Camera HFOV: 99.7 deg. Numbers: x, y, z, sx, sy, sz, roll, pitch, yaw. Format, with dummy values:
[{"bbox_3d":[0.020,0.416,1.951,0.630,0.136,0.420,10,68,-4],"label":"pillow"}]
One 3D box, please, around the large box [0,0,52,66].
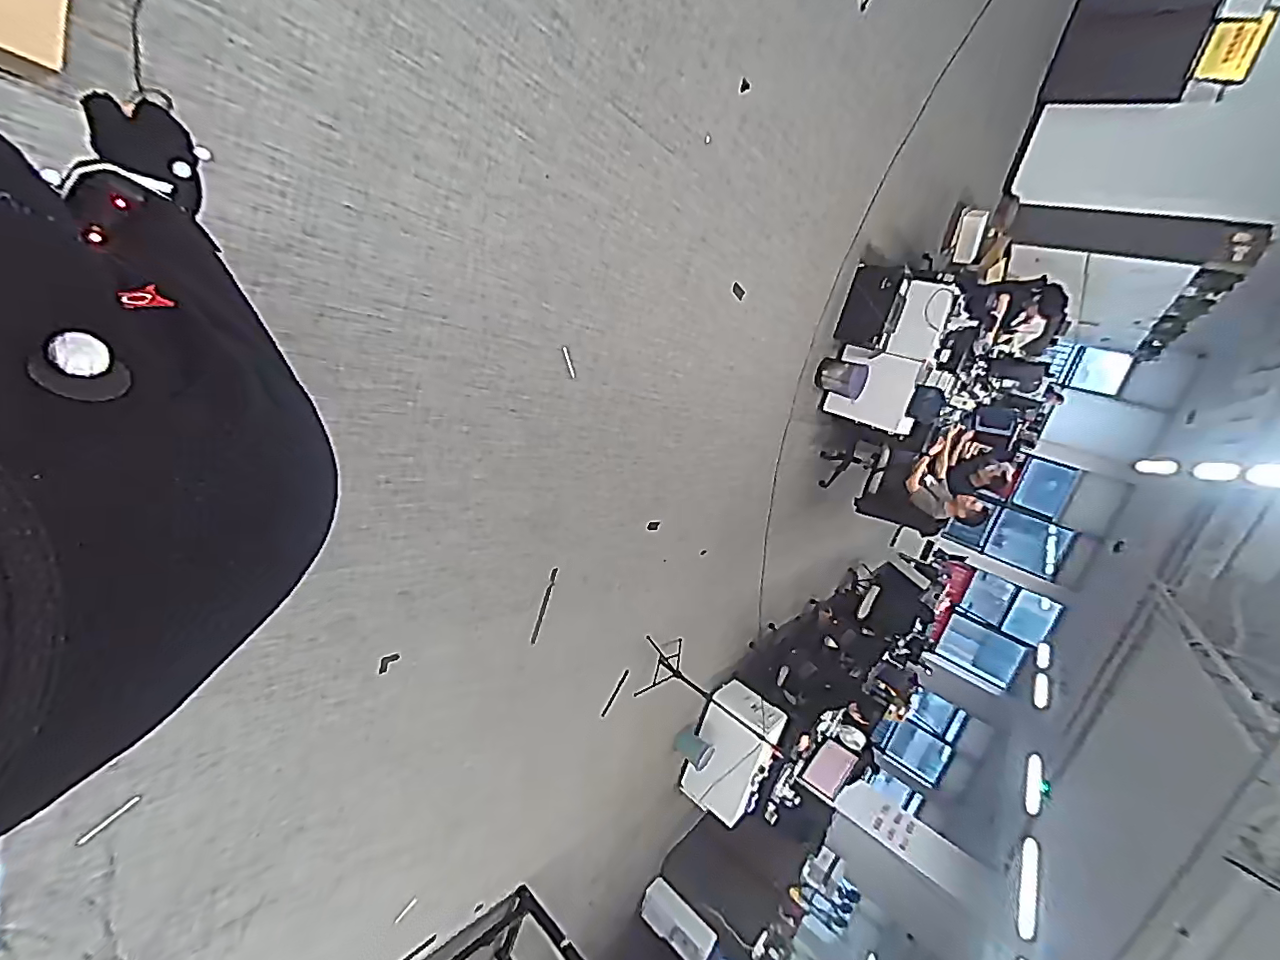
[{"bbox_3d":[-0.981,-0.759,0.620,0.408,0.320,0.320,2,110,-53],"label":"large box"}]
